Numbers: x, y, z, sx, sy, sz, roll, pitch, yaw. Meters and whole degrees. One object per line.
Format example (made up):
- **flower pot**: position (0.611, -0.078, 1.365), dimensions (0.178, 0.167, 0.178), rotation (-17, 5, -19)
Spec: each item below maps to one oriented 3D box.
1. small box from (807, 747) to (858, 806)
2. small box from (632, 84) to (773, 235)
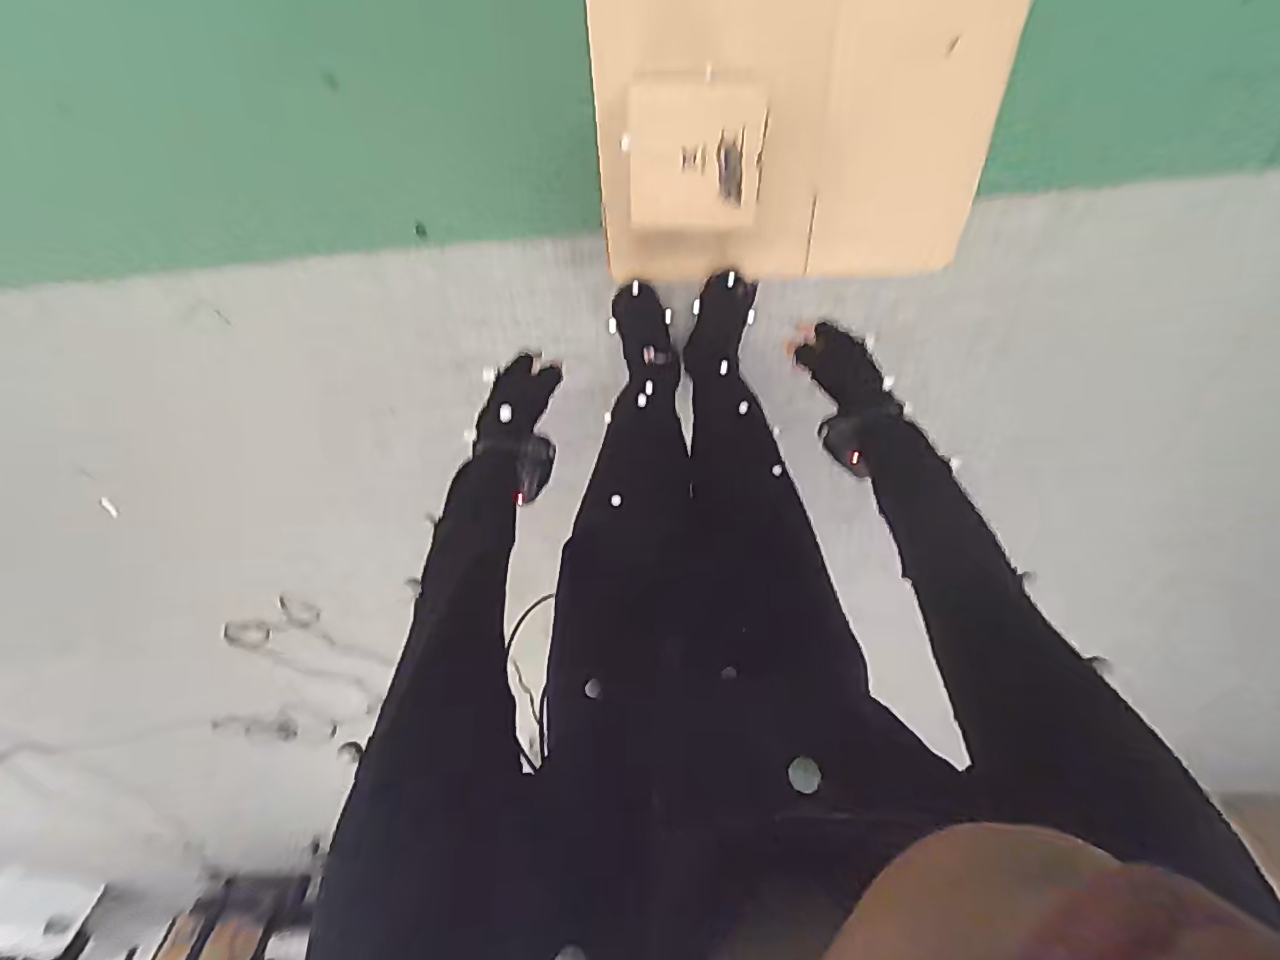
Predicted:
- **small box**: position (0.812, 1.253, 2.294), dimensions (0.168, 0.176, 0.179), rotation (-8, 127, 7)
- **small box**: position (0.080, -0.458, 0.770), dimensions (0.179, 0.176, 0.168), rotation (1, 128, 3)
